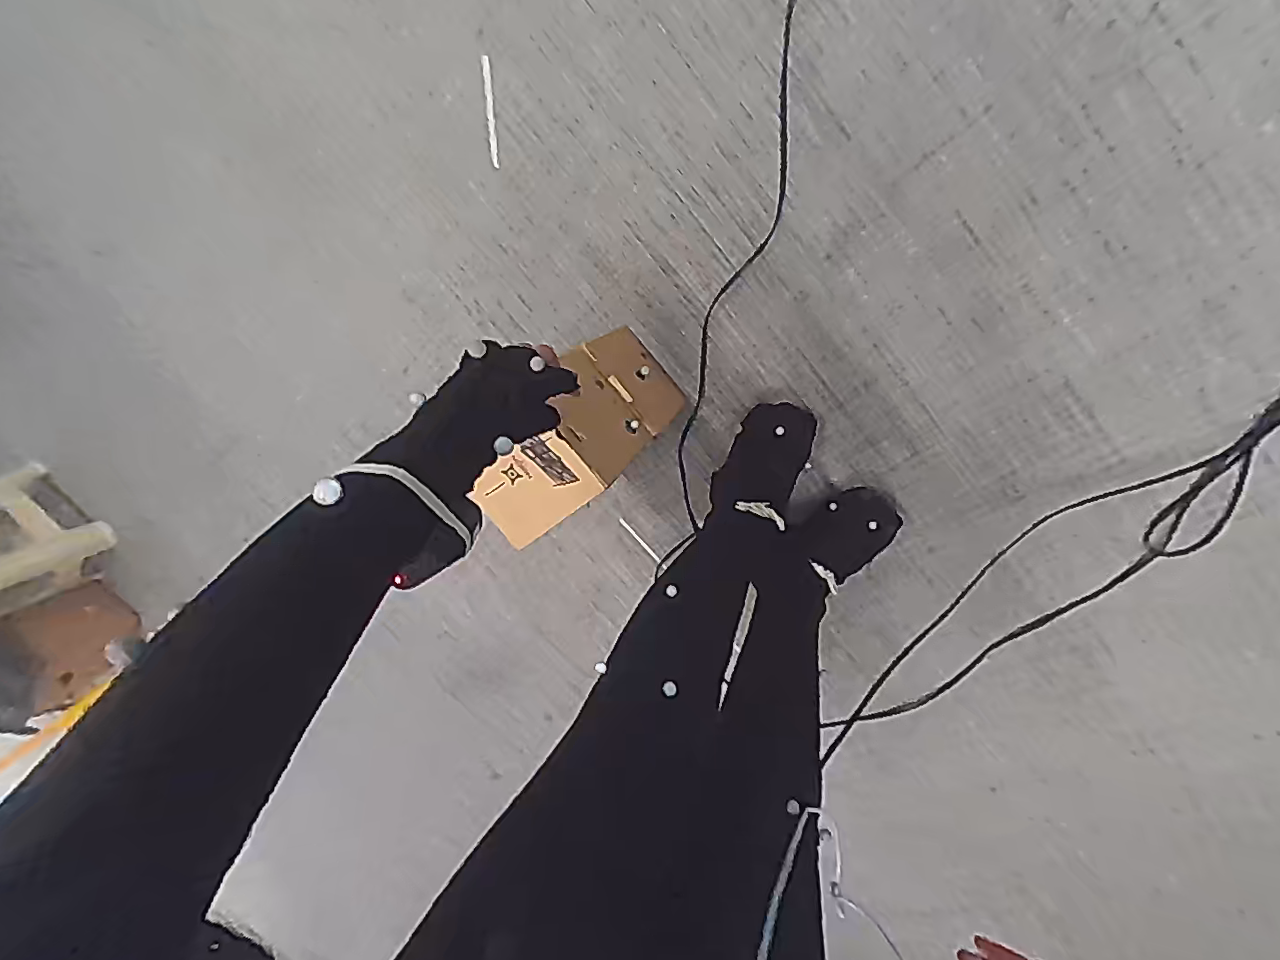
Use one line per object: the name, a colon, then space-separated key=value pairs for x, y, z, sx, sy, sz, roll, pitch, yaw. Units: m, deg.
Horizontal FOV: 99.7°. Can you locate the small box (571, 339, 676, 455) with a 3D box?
small box: x=-0.061 y=-0.104 z=0.863 sx=0.179 sy=0.176 sz=0.168 roll=-38 pitch=94 yaw=30

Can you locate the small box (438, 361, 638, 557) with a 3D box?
small box: x=-0.122 y=-0.034 z=0.724 sx=0.179 sy=0.176 sz=0.168 roll=-34 pitch=99 yaw=32
